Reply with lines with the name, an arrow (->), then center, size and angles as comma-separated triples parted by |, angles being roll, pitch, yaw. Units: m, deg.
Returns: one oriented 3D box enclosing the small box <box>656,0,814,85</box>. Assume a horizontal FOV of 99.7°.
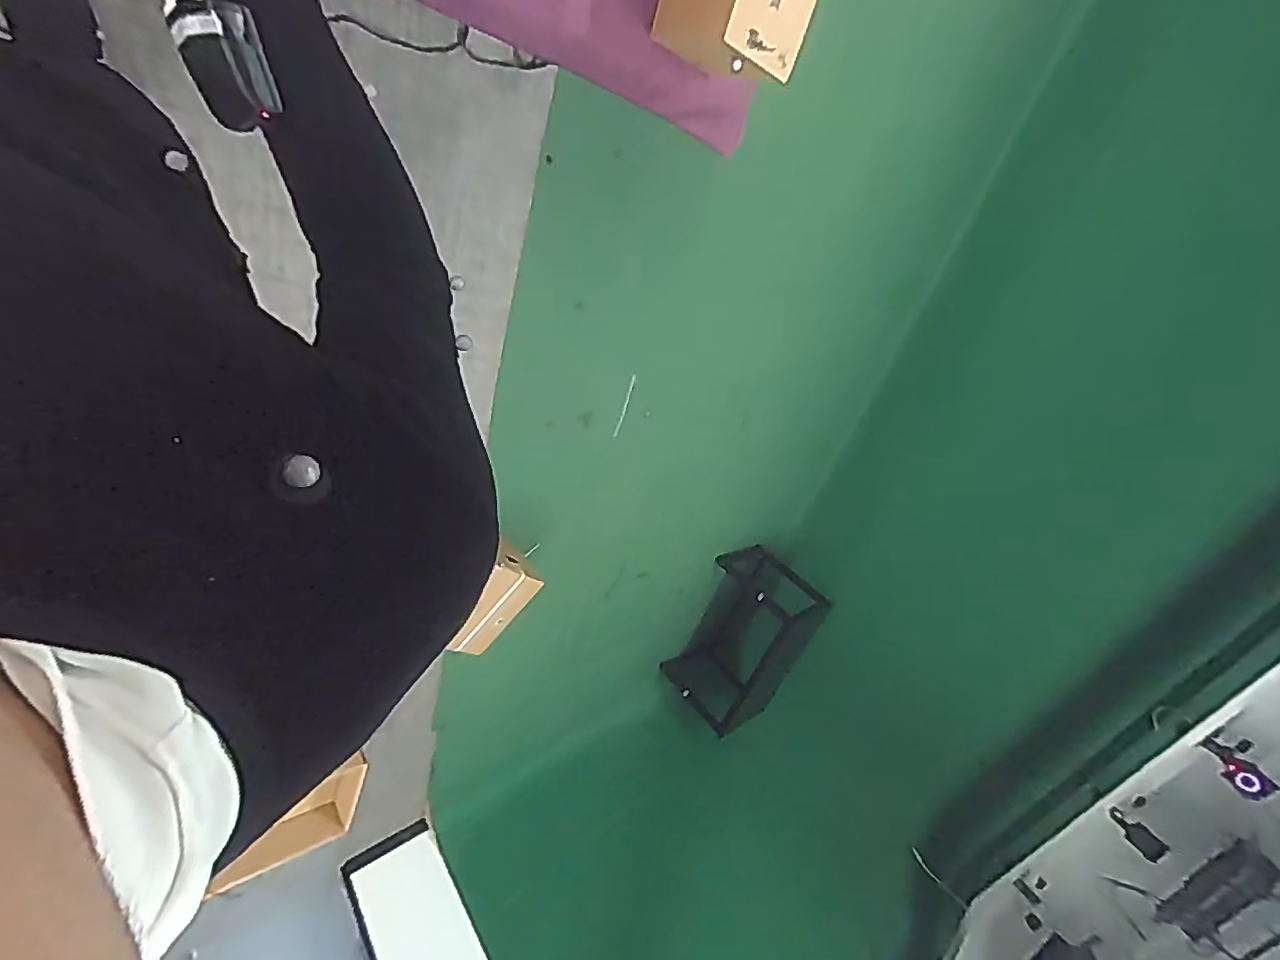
small box -> 0.150, -0.747, 0.834 | 0.168, 0.176, 0.179 | -8, 126, -42
